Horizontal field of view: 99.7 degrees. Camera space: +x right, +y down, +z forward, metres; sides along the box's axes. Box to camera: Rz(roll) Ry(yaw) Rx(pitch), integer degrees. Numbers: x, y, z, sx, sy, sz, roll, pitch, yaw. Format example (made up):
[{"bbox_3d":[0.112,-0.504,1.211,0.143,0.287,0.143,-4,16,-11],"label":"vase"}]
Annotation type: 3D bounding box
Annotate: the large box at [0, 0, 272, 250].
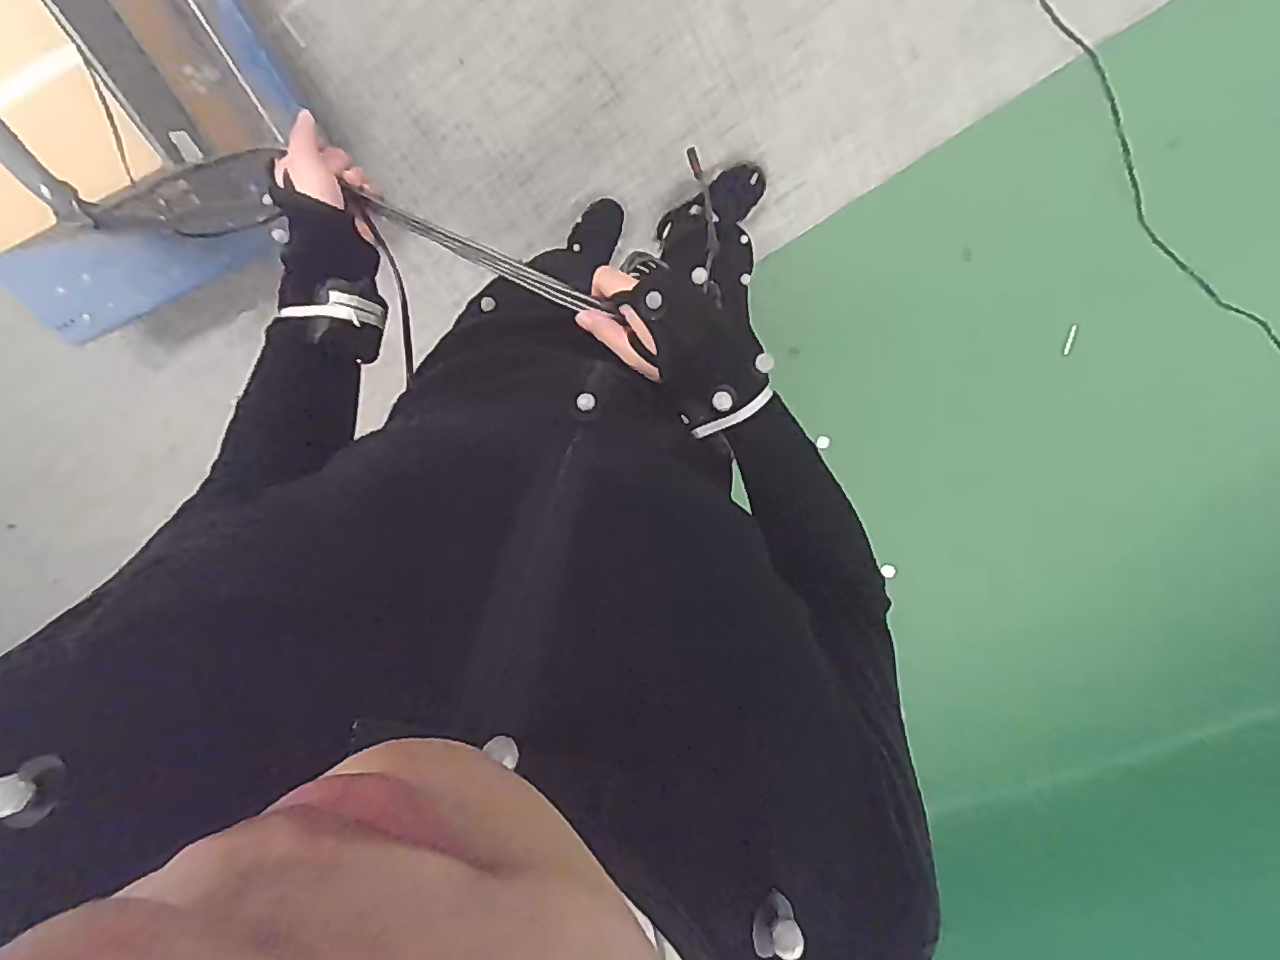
[{"bbox_3d":[-0.990,-0.666,0.957,0.408,0.320,0.320,-17,122,11],"label":"large box"}]
